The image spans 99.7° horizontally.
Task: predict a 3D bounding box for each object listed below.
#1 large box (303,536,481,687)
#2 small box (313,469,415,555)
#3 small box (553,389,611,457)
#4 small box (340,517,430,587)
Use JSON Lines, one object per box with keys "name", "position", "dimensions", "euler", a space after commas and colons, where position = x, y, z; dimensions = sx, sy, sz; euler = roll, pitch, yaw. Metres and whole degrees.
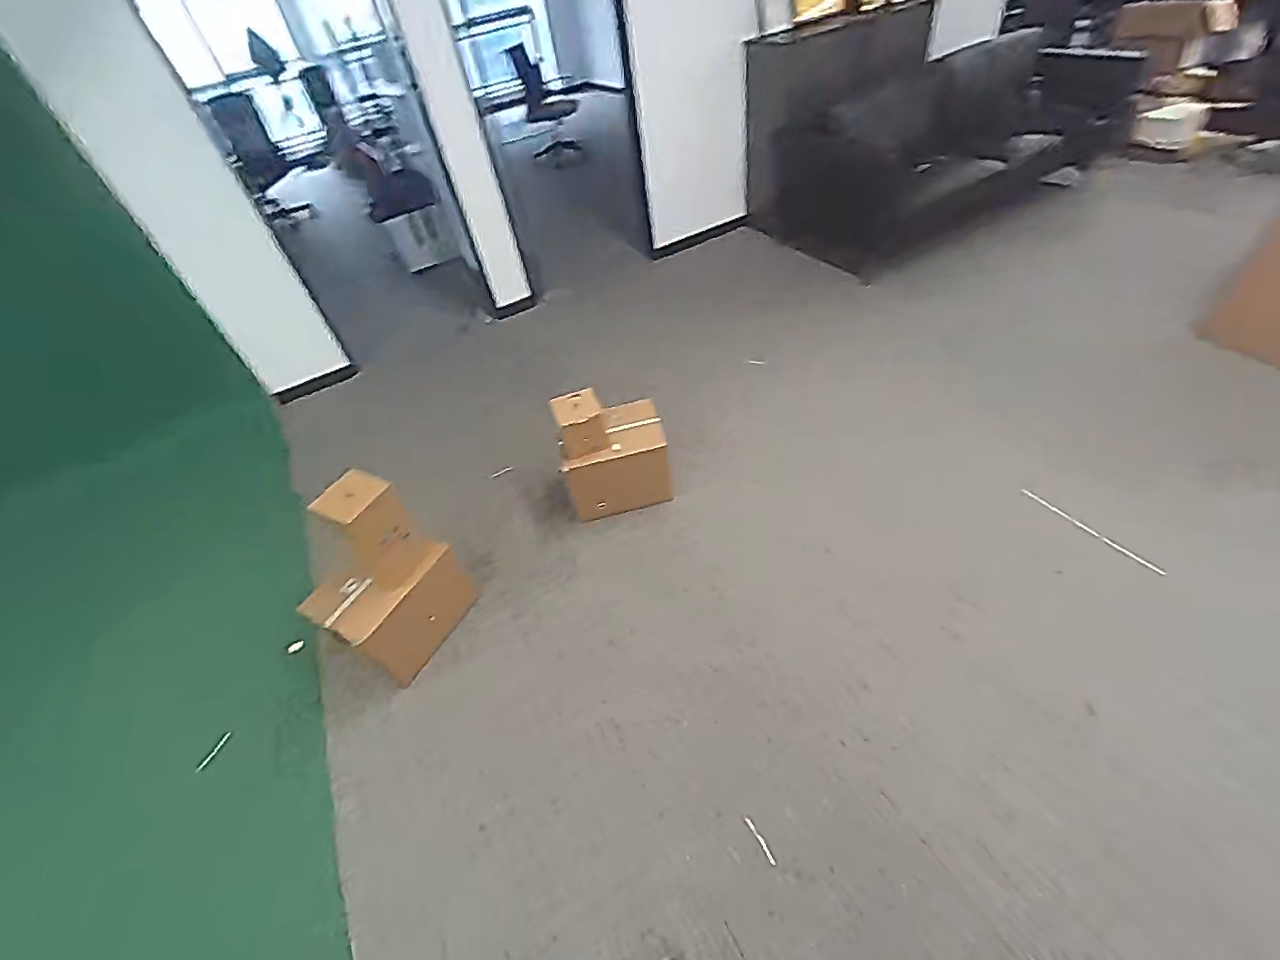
{"name": "large box", "position": [-0.831, 0.424, 1.875], "dimensions": [0.320, 0.320, 0.408], "euler": [15, 51, 25]}
{"name": "small box", "position": [-0.818, 0.097, 1.615], "dimensions": [0.179, 0.176, 0.168], "euler": [18, 52, 25]}
{"name": "small box", "position": [-0.216, -0.207, 2.035], "dimensions": [0.168, 0.176, 0.179], "euler": [-18, 46, -8]}
{"name": "small box", "position": [-0.804, 0.210, 1.731], "dimensions": [0.168, 0.176, 0.179], "euler": [15, 50, 24]}
